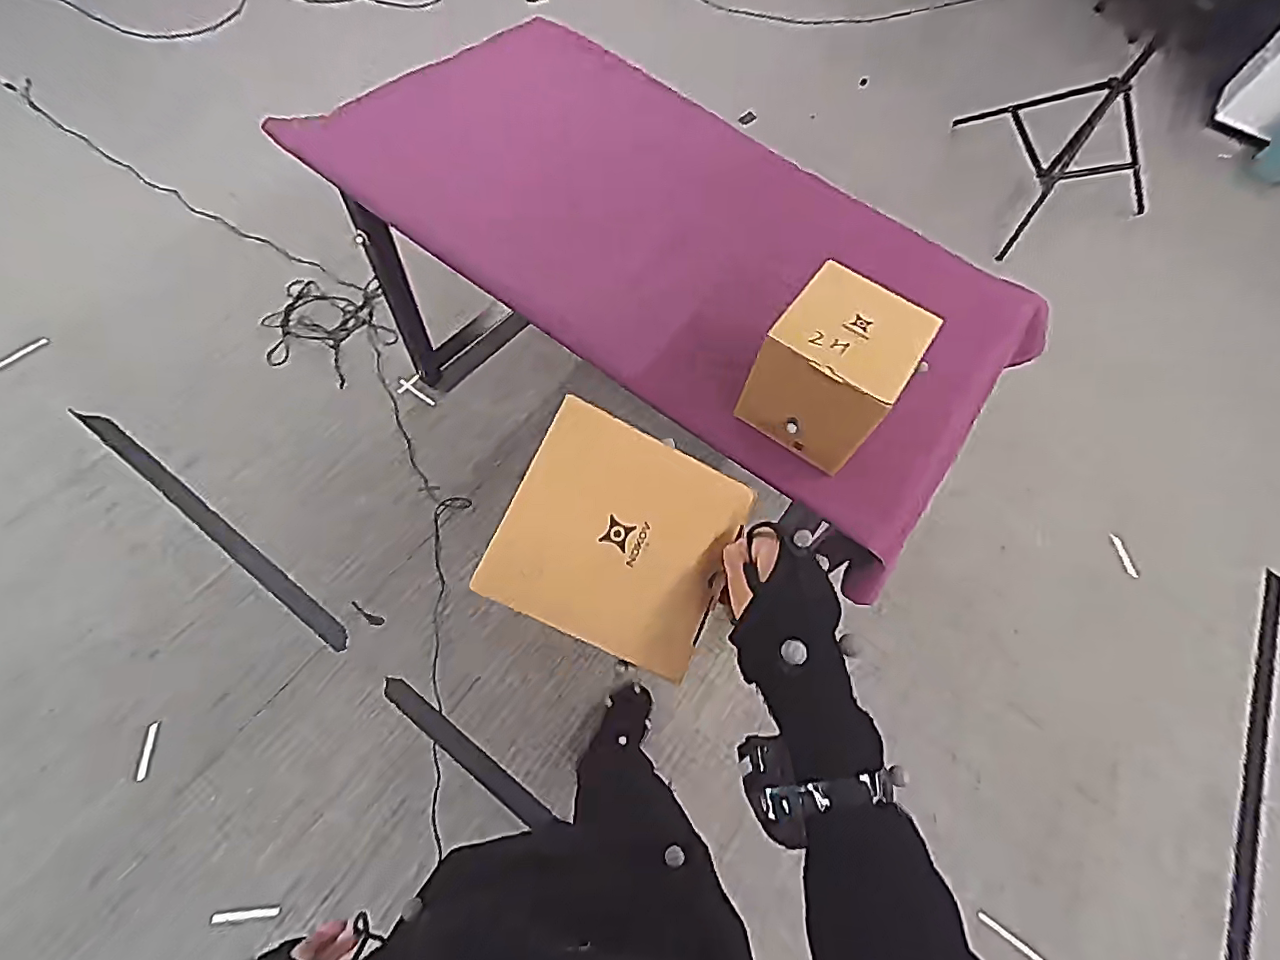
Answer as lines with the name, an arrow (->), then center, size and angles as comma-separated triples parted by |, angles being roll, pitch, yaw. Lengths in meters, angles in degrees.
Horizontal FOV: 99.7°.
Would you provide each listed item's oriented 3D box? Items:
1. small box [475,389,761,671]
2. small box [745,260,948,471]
small box -> -0.028, 0.049, 0.489 | 0.179, 0.176, 0.168 | 27, 76, -9
small box -> 0.263, -0.147, 0.725 | 0.168, 0.176, 0.179 | 34, 65, 12
